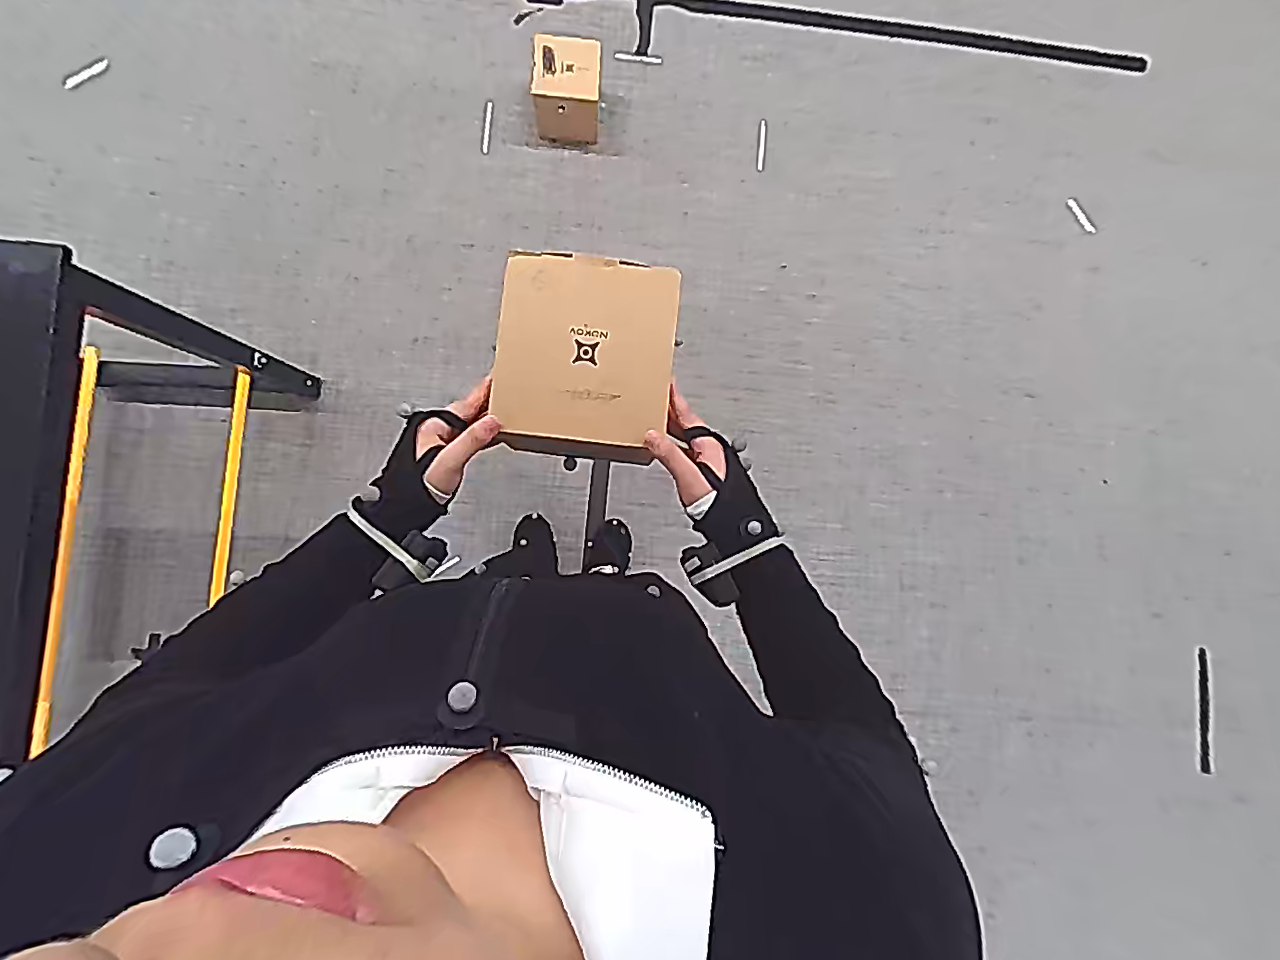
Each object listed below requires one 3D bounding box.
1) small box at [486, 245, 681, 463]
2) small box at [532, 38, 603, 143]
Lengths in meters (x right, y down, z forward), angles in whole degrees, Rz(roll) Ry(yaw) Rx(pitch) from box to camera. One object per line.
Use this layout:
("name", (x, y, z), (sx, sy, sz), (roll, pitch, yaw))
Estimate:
("small box", (-0.056, -0.120, 0.580), (0.168, 0.176, 0.179), (6, 87, -3))
("small box", (-0.194, -1.065, 1.490), (0.179, 0.176, 0.168), (3, 86, -4))
